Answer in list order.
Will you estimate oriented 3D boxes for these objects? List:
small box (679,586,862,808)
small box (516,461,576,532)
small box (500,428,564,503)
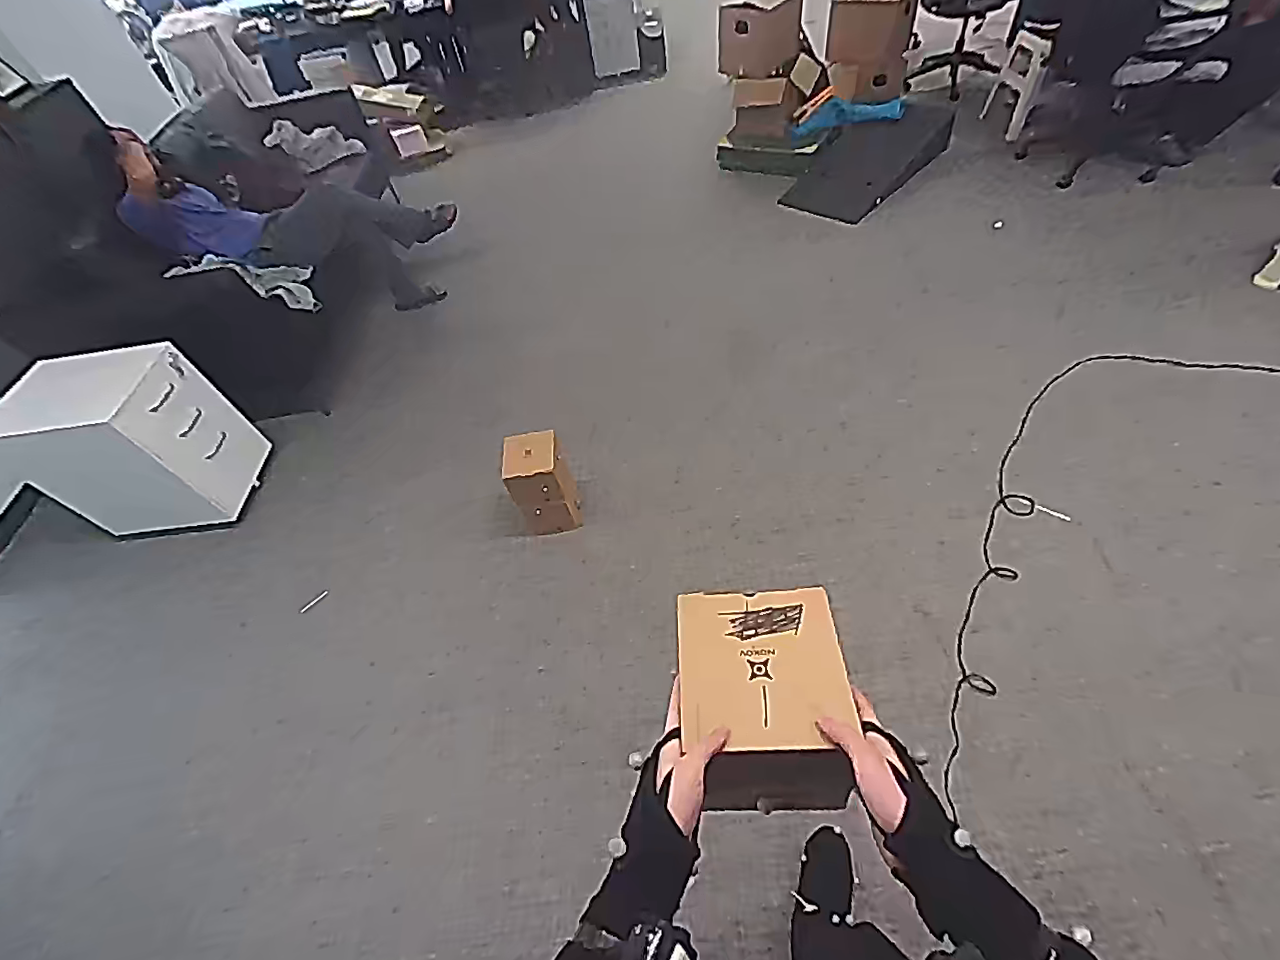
[{"bbox_3d":[0.131,0.241,0.605,0.168,0.176,0.179,-5,42,7],"label":"small box"},{"bbox_3d":[-0.323,0.059,1.892,0.168,0.176,0.179,-8,51,4],"label":"small box"},{"bbox_3d":[-0.347,-0.040,1.766,0.168,0.176,0.179,-9,50,2],"label":"small box"}]
